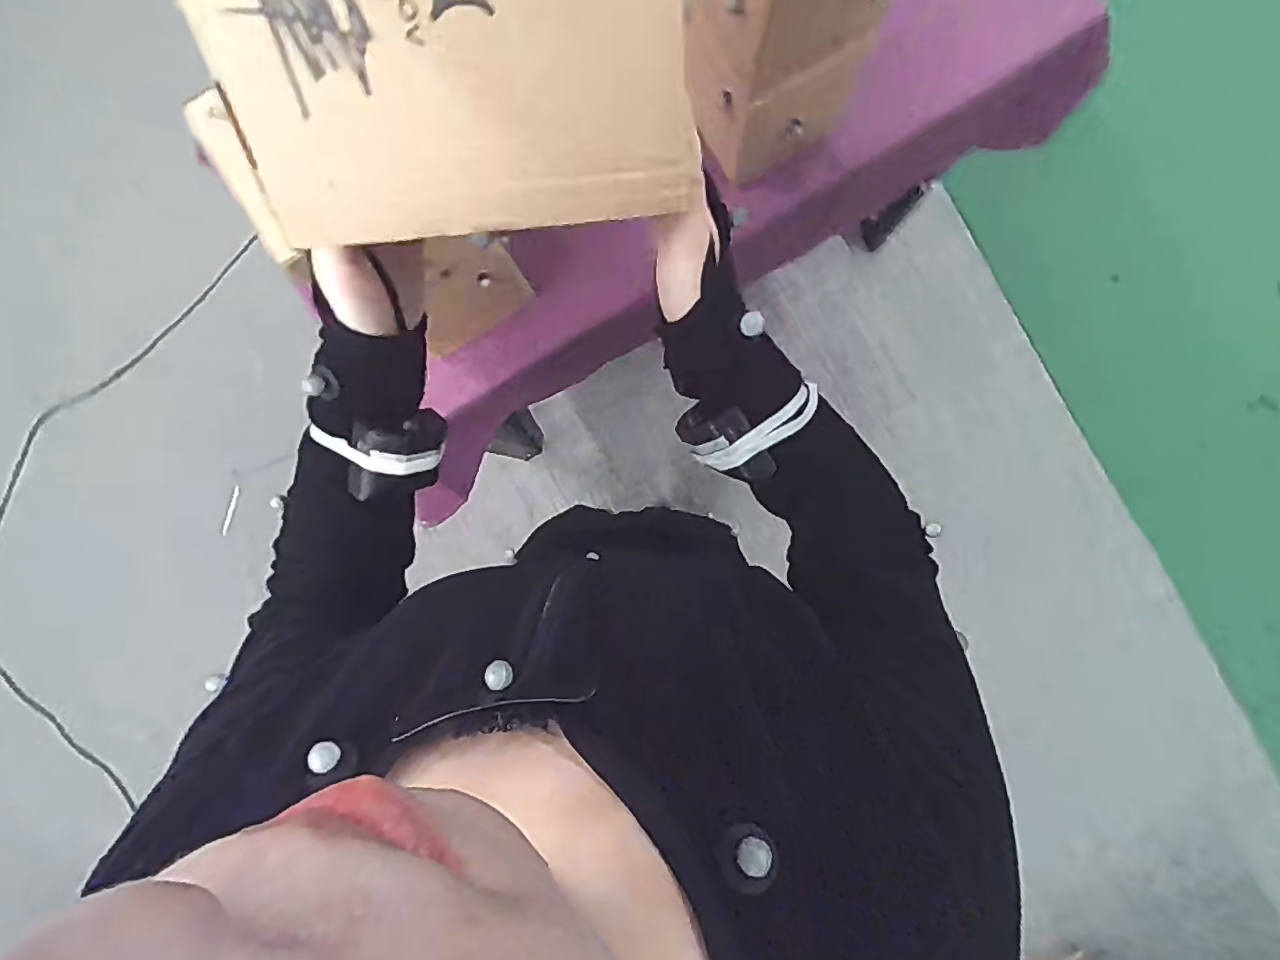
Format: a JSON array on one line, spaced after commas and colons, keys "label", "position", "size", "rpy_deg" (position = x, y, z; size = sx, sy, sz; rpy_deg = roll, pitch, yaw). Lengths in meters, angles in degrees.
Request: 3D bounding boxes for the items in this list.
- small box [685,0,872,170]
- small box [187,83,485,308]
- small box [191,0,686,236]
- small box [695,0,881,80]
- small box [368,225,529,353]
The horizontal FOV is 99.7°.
[{"label": "small box", "position": [0.161, -0.544, 0.704], "size": [0.168, 0.176, 0.179], "rpy_deg": [-29, 87, 1]}, {"label": "small box", "position": [-0.289, -0.302, 0.558], "size": [0.168, 0.176, 0.179], "rpy_deg": [-33, 87, 1]}, {"label": "small box", "position": [-0.073, -0.222, 0.248], "size": [0.179, 0.176, 0.168], "rpy_deg": [-4, 128, 1]}, {"label": "small box", "position": [0.151, -0.552, 0.541], "size": [0.168, 0.176, 0.179], "rpy_deg": [-27, 87, 2]}, {"label": "small box", "position": [-0.276, -0.295, 0.722], "size": [0.179, 0.176, 0.168], "rpy_deg": [-32, 87, 1]}]
